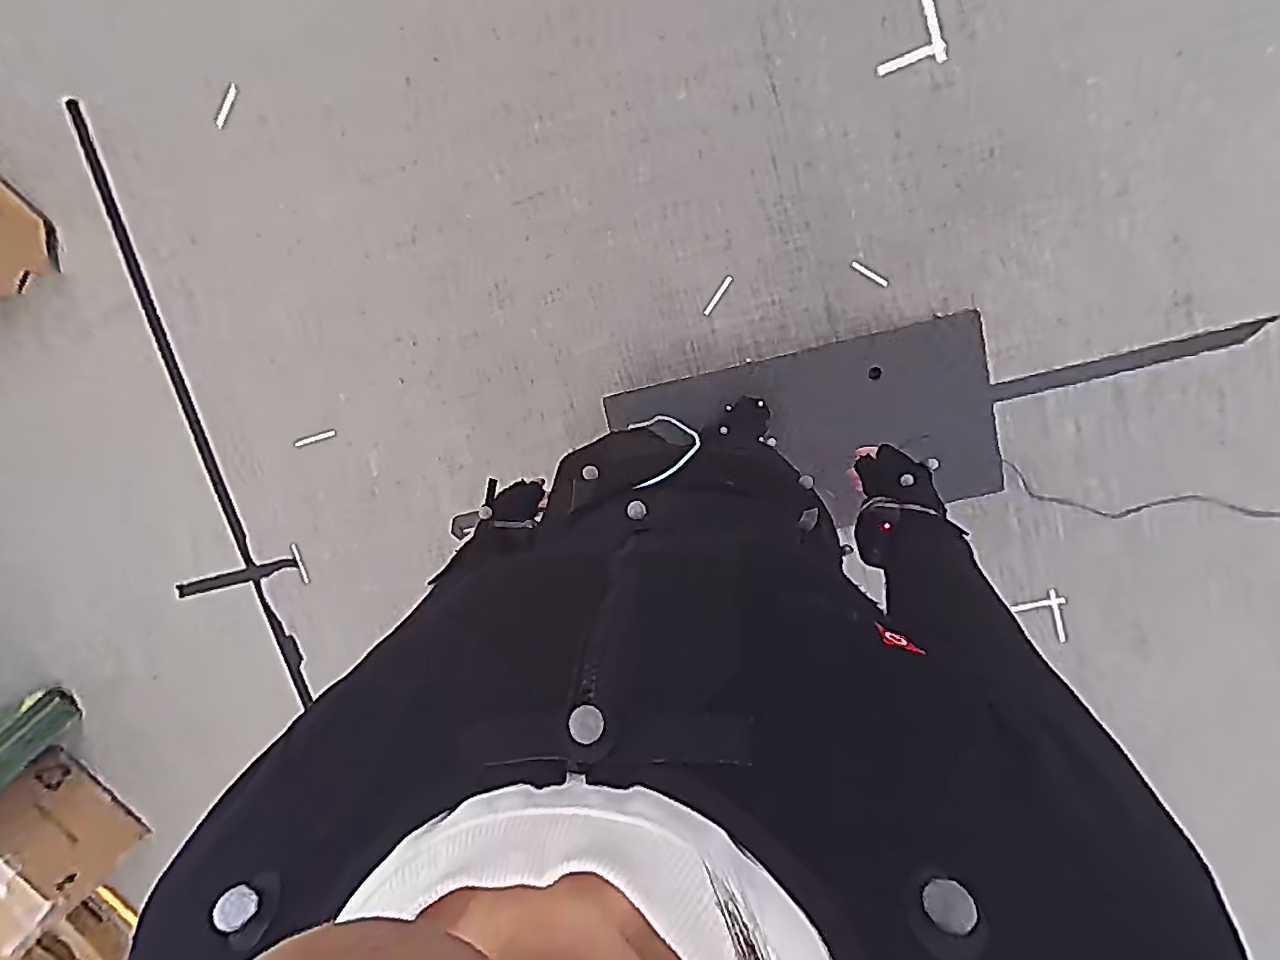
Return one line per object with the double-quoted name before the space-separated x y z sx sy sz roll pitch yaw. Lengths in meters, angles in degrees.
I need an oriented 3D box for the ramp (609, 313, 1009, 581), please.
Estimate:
"ramp" 0.455 -0.084 1.444 0.991 0.206 0.509 -15 95 11
